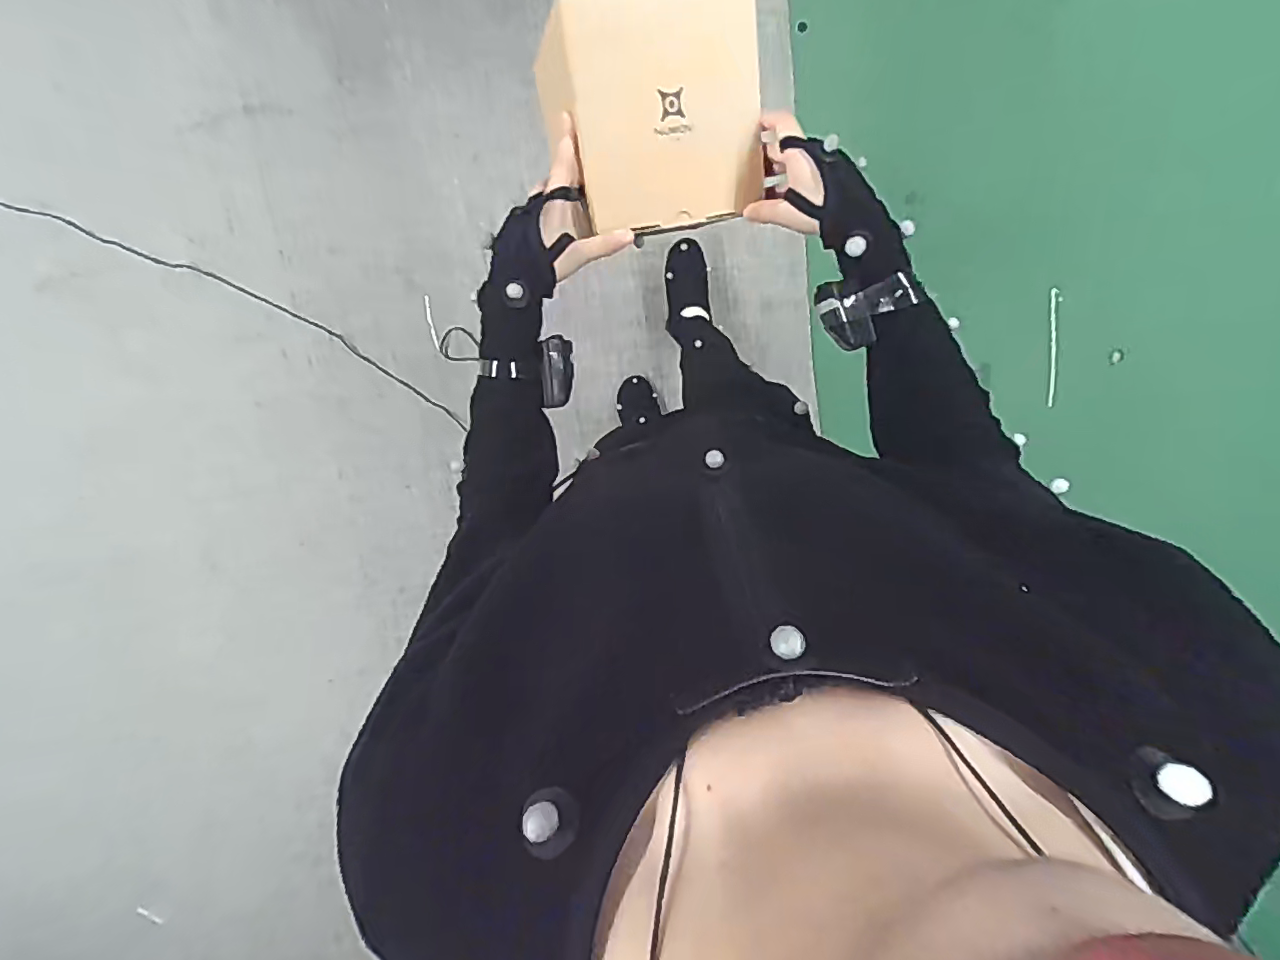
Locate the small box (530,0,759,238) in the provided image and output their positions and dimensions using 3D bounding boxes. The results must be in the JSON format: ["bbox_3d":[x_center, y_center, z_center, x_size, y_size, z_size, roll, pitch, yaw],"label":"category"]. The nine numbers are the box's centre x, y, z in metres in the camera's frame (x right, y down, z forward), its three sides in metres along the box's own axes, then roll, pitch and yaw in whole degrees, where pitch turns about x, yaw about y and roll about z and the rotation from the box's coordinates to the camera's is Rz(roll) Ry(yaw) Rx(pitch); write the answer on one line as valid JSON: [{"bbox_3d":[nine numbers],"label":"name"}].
[{"bbox_3d":[-0.003,-0.342,0.518,0.168,0.176,0.179,-14,114,-11],"label":"small box"}]
